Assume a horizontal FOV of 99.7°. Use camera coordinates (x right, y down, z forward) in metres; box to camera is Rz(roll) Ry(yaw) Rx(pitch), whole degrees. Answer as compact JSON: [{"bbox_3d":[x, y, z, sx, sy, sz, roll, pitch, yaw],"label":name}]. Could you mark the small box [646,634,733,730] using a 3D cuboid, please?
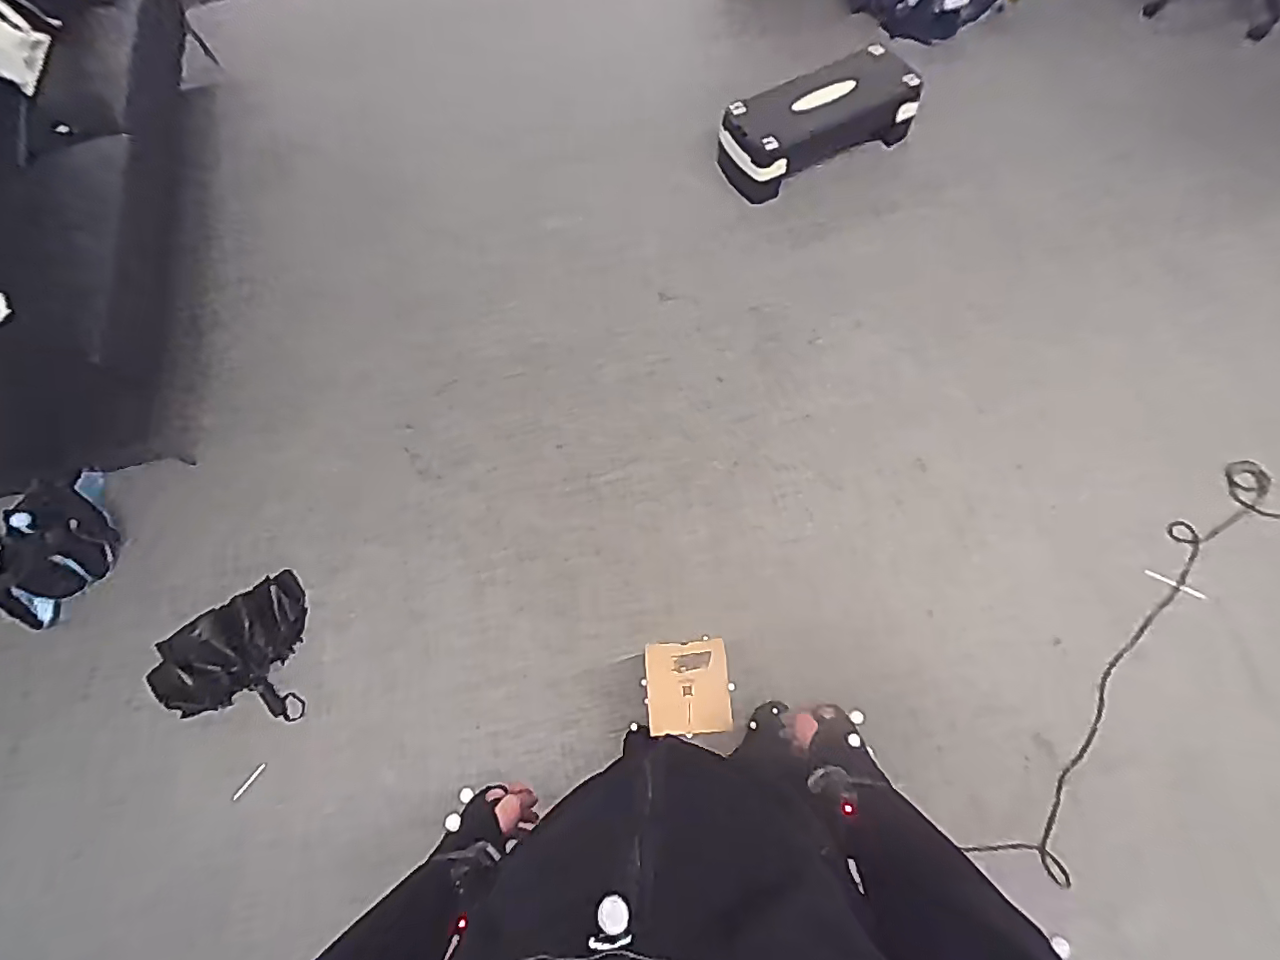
[{"bbox_3d":[0.103,0.431,1.158,0.168,0.176,0.179,-5,70,4],"label":"small box"}]
